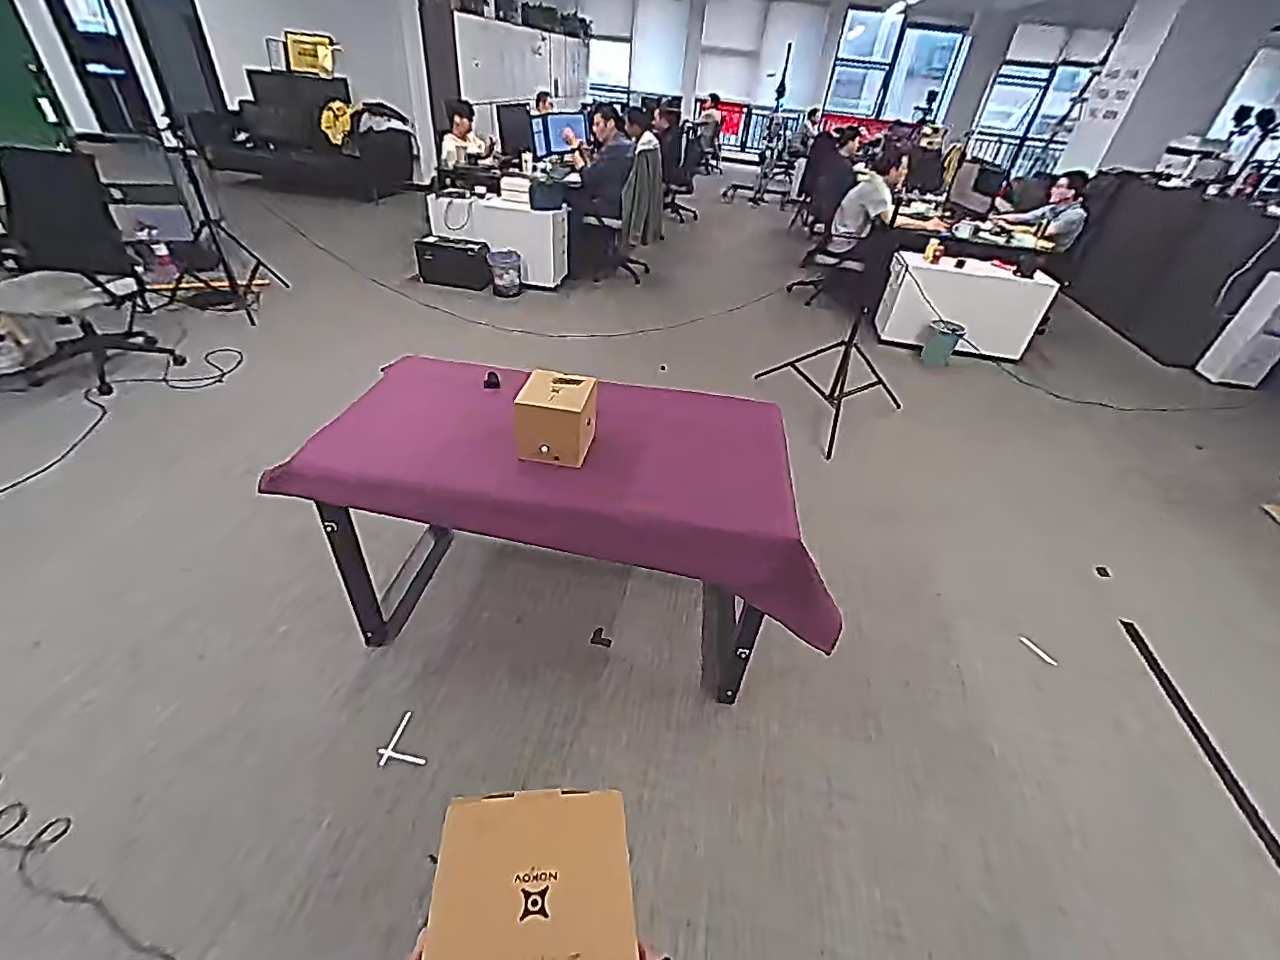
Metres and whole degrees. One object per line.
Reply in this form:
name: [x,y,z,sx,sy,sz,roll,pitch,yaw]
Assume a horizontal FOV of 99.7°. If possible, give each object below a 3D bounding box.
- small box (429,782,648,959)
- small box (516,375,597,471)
small box: [-0.091,0.408,0.485,0.168,0.176,0.179,1,30,-11]
small box: [-0.210,-0.147,1.383,0.168,0.176,0.179,9,37,4]
